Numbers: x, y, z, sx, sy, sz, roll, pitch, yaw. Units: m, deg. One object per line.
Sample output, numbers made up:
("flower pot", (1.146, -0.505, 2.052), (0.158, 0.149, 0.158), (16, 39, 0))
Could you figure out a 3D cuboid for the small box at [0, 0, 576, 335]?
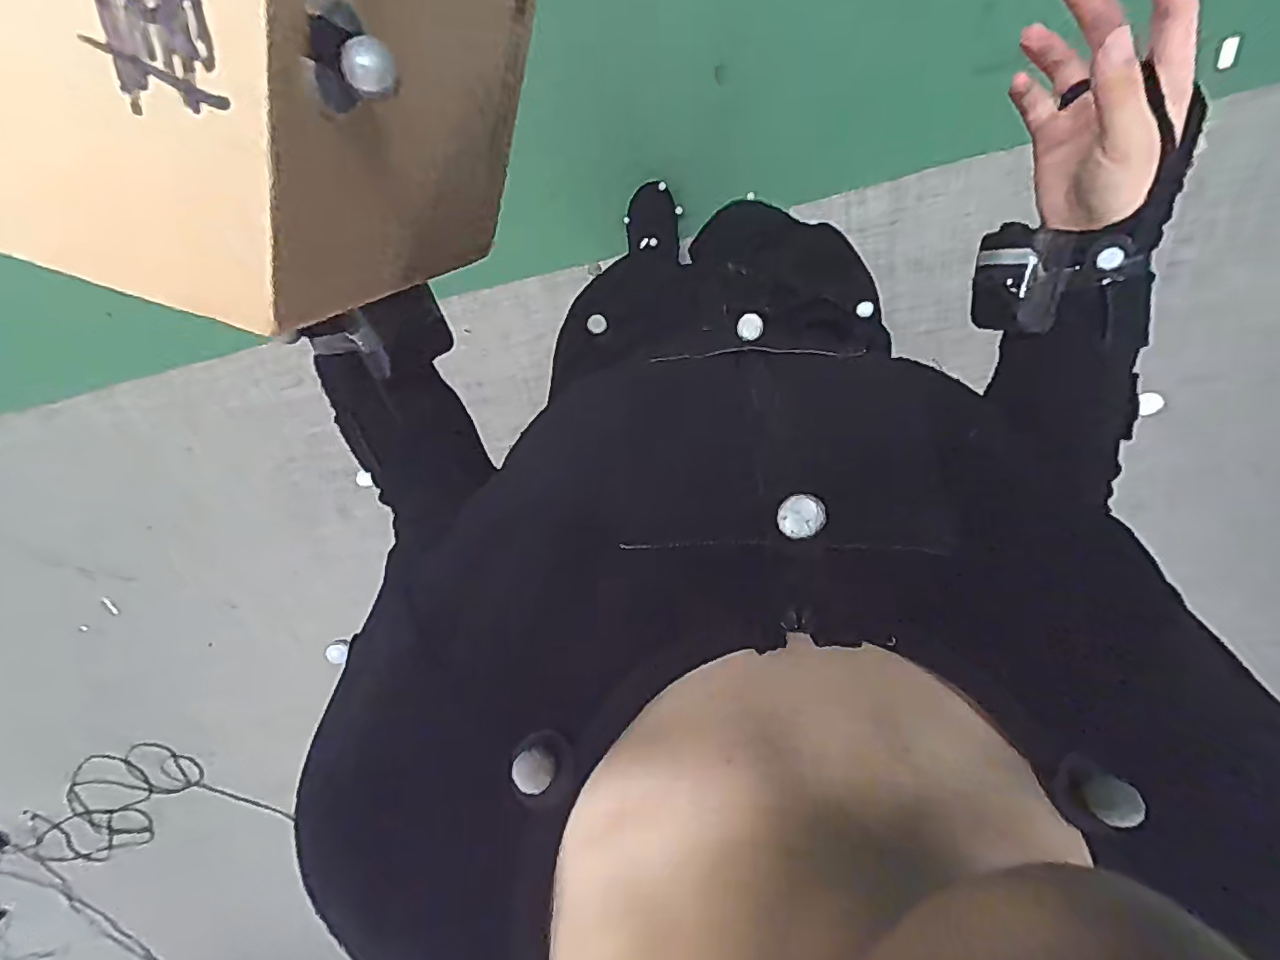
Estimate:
("small box", (-0.130, -0.170, 0.174), (0.179, 0.176, 0.168), (19, 119, -4))
